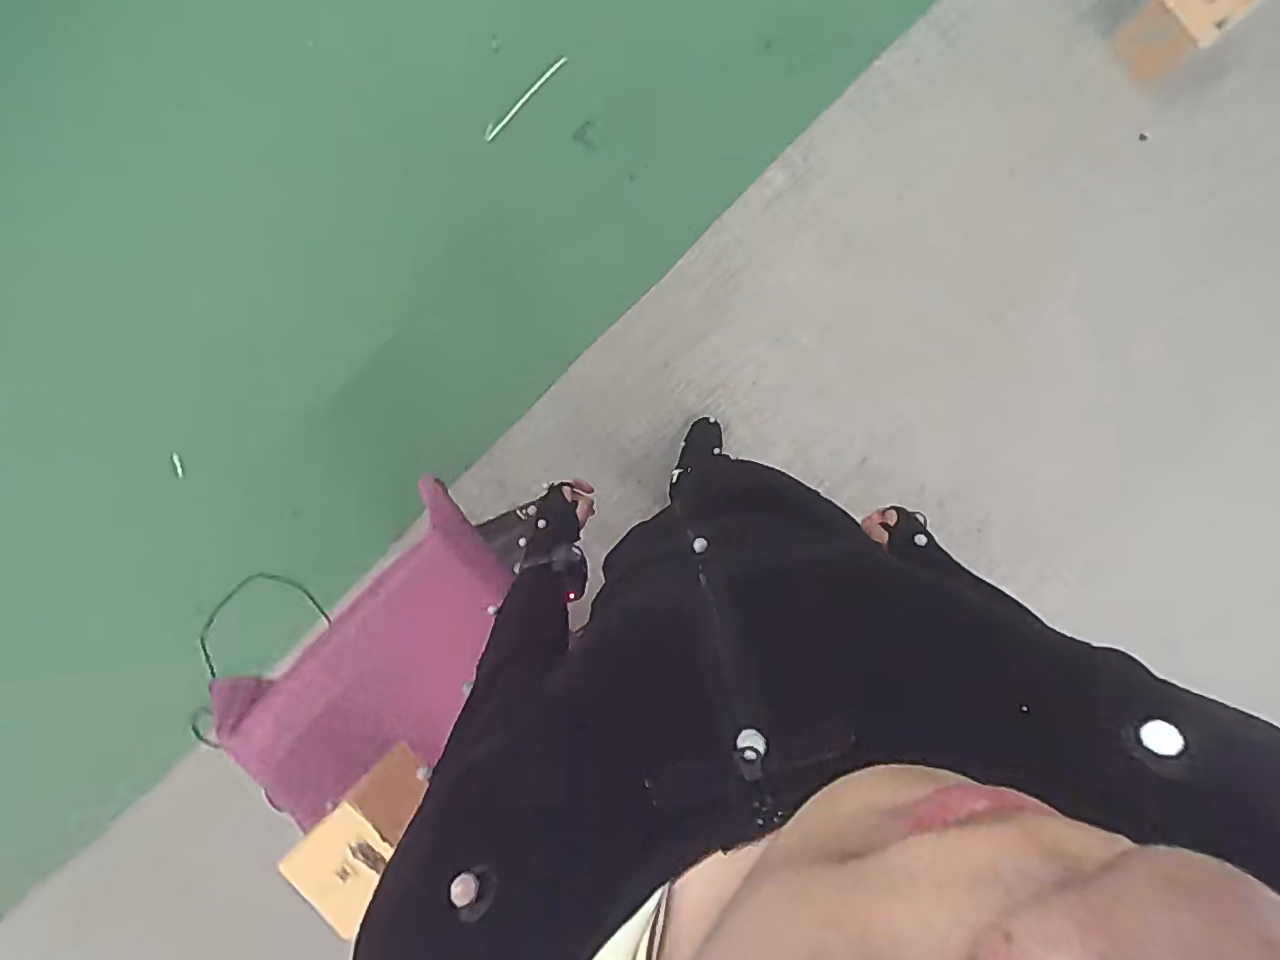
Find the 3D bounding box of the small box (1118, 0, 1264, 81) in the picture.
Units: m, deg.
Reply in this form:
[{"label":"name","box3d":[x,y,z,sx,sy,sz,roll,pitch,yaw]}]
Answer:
[{"label":"small box","box3d":[1.337,-1.132,1.311,0.168,0.176,0.179,-40,89,8]}]

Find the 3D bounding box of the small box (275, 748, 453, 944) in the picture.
[{"label":"small box","box3d":[-0.442,0.596,0.905,0.179,0.176,0.168,-44,89,8]}]
